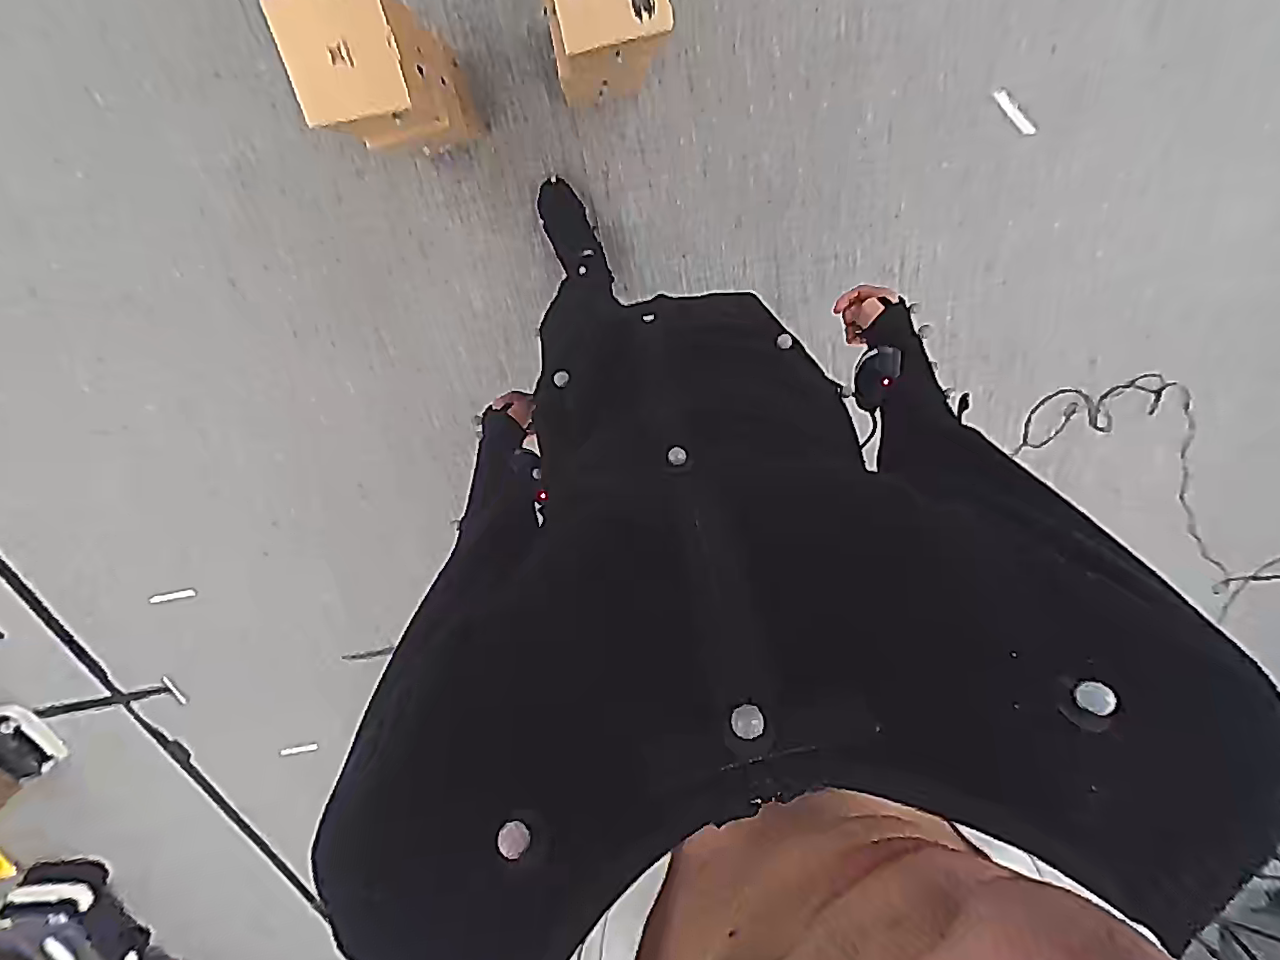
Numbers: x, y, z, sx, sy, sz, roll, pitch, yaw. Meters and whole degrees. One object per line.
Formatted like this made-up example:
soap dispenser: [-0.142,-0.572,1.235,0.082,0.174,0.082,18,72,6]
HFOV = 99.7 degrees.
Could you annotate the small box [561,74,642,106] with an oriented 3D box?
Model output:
small box: [-0.098,-0.927,1.165,0.179,0.176,0.168,-11,118,0]

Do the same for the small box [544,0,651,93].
small box: [-0.084,-0.854,1.019,0.179,0.176,0.168,-10,117,-1]

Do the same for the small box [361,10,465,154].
small box: [-0.460,-0.750,1.040,0.168,0.176,0.179,-15,118,4]

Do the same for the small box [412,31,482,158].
small box: [-0.466,-0.831,1.183,0.168,0.176,0.179,-17,117,4]

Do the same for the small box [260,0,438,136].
small box: [-0.462,-0.684,0.891,0.179,0.176,0.168,-10,117,1]
